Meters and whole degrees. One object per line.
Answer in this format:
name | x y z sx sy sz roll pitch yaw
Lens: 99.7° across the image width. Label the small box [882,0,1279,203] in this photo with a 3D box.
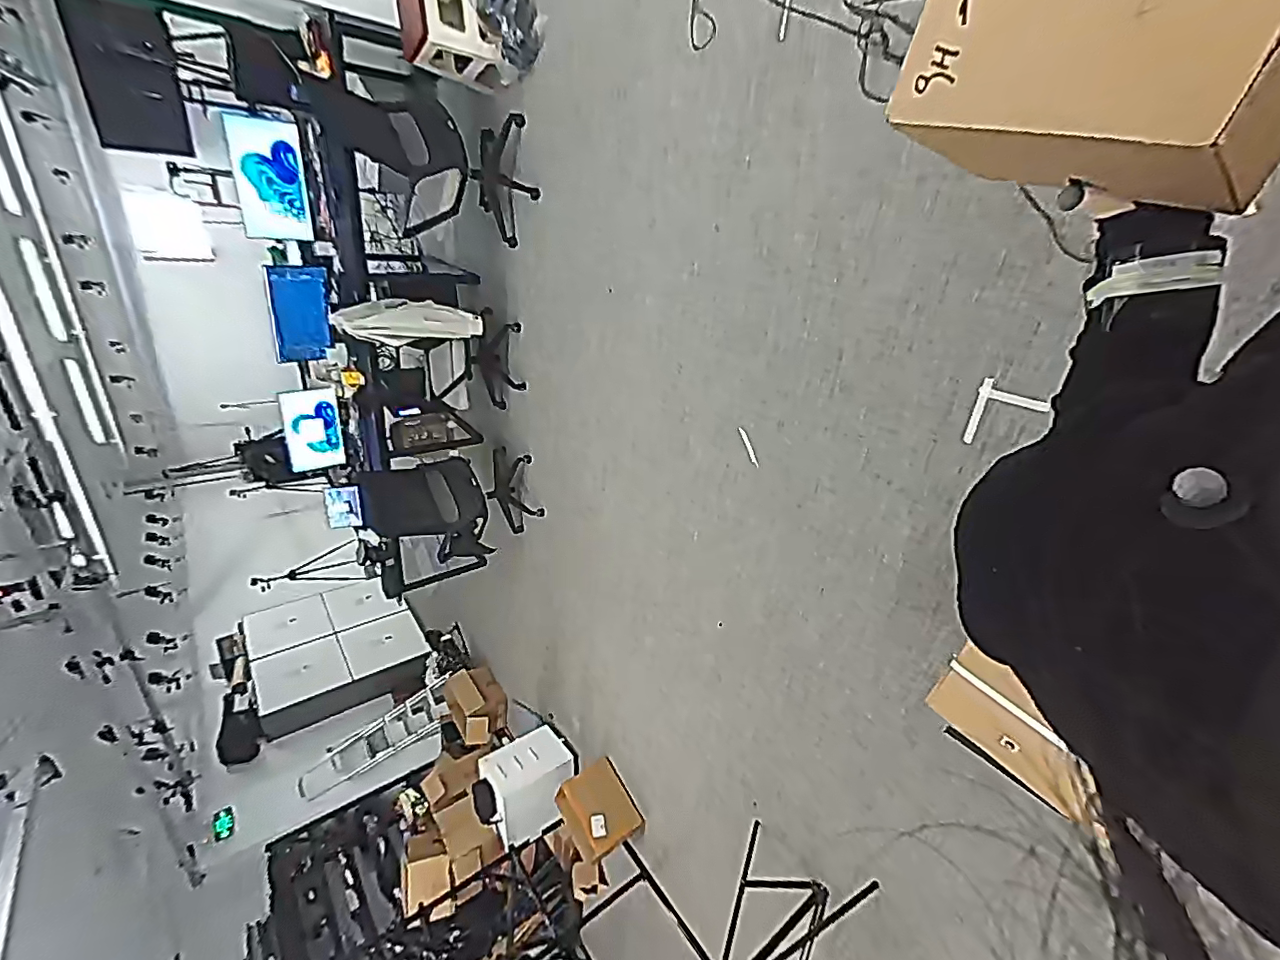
small box | 0.289 -0.273 0.314 0.179 0.176 0.168 39 126 39
